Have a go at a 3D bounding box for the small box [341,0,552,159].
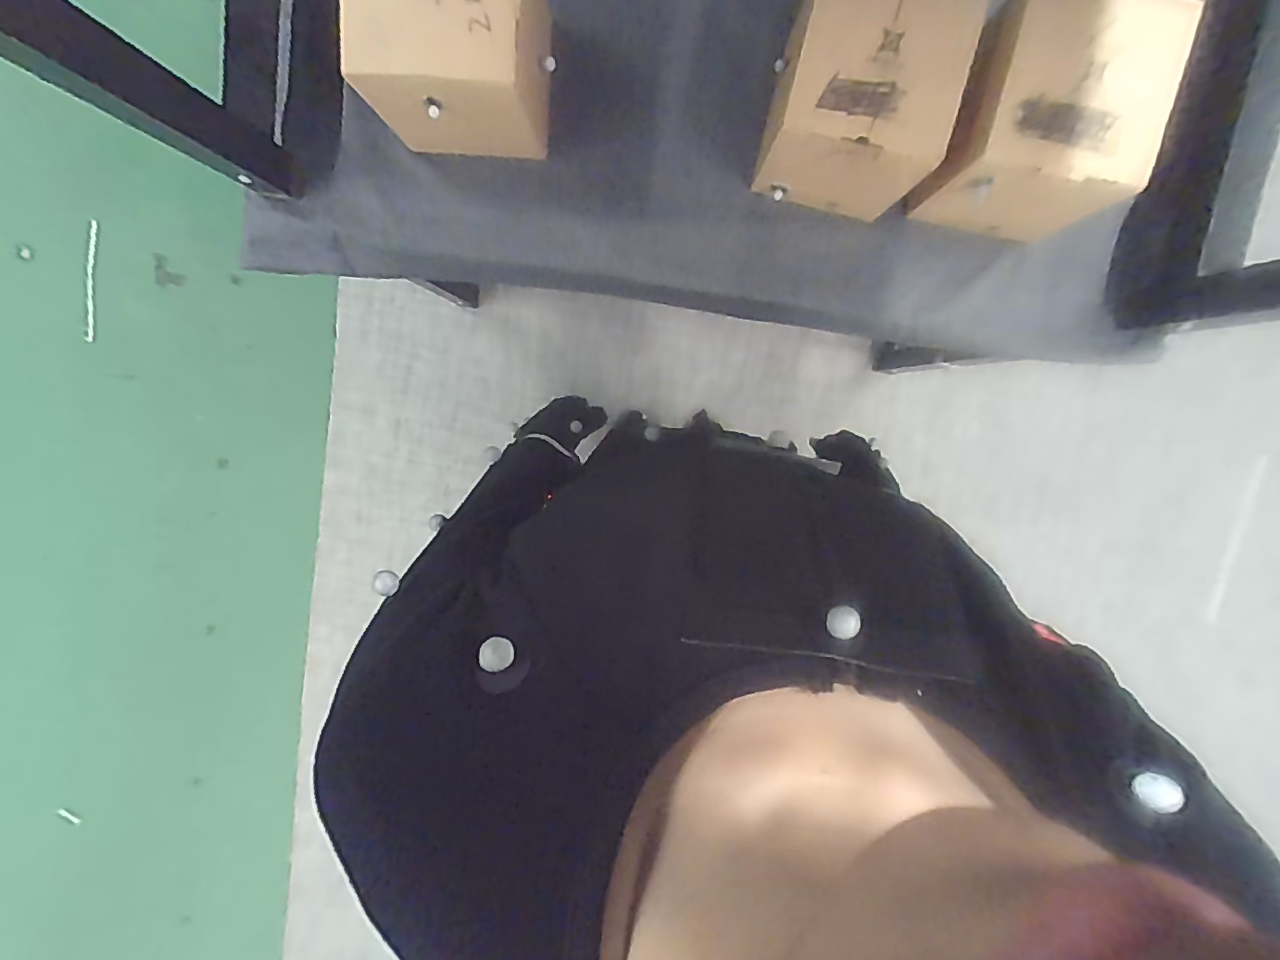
[{"bbox_3d":[-0.204,-0.484,0.605,0.179,0.176,0.168,4,98,0],"label":"small box"}]
